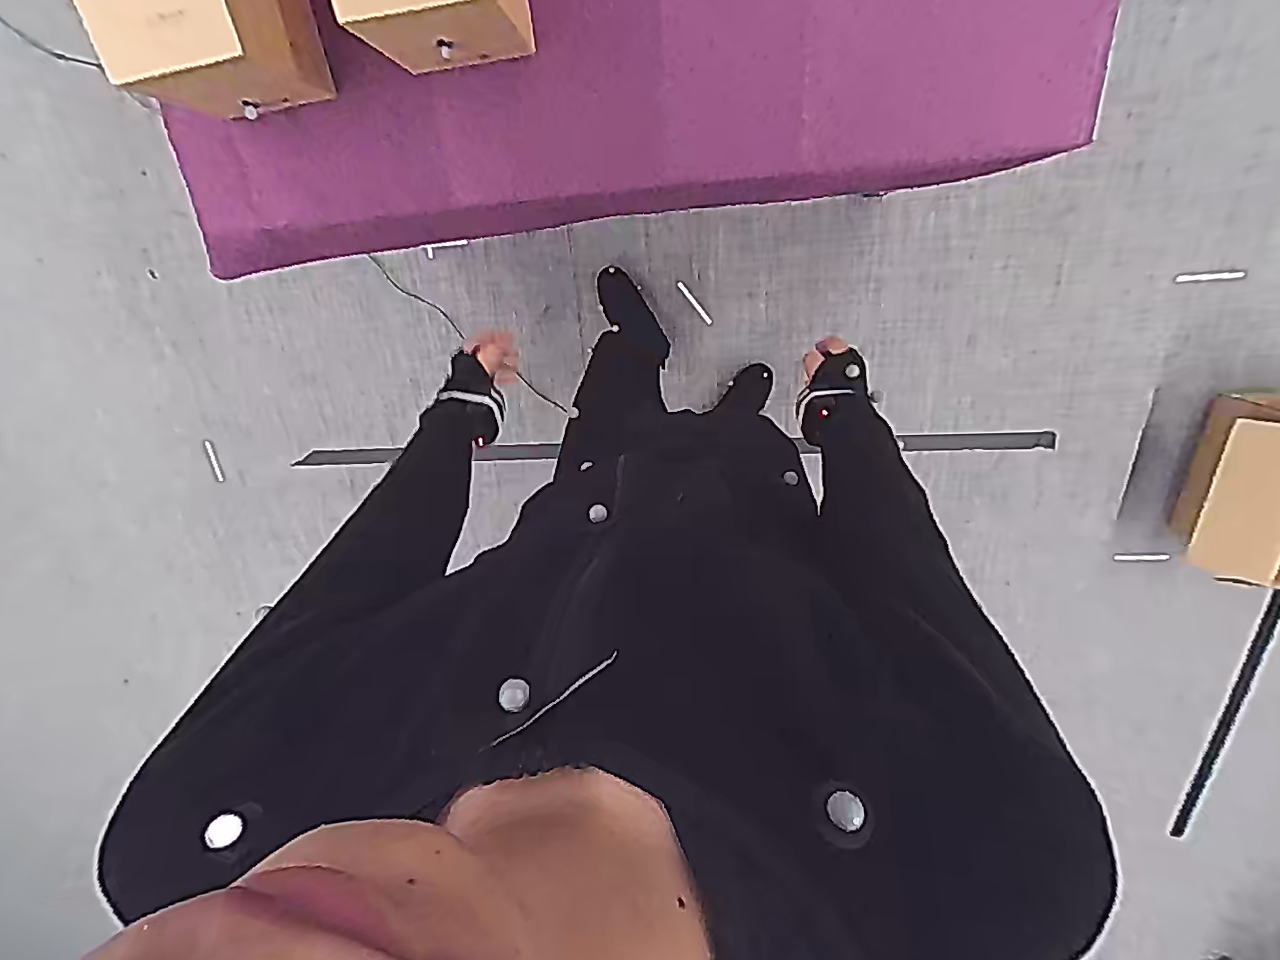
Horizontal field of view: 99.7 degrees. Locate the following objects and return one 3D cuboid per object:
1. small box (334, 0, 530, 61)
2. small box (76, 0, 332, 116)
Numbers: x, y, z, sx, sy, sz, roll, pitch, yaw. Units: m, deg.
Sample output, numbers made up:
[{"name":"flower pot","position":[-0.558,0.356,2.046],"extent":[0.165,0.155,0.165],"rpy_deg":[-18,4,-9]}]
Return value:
[{"name":"small box","position":[-0.228,-0.583,0.582],"extent":[0.168,0.176,0.179],"rpy_deg":[-4,112,6]},{"name":"small box","position":[-0.498,-0.551,0.619],"extent":[0.168,0.176,0.179],"rpy_deg":[-6,112,8]}]
